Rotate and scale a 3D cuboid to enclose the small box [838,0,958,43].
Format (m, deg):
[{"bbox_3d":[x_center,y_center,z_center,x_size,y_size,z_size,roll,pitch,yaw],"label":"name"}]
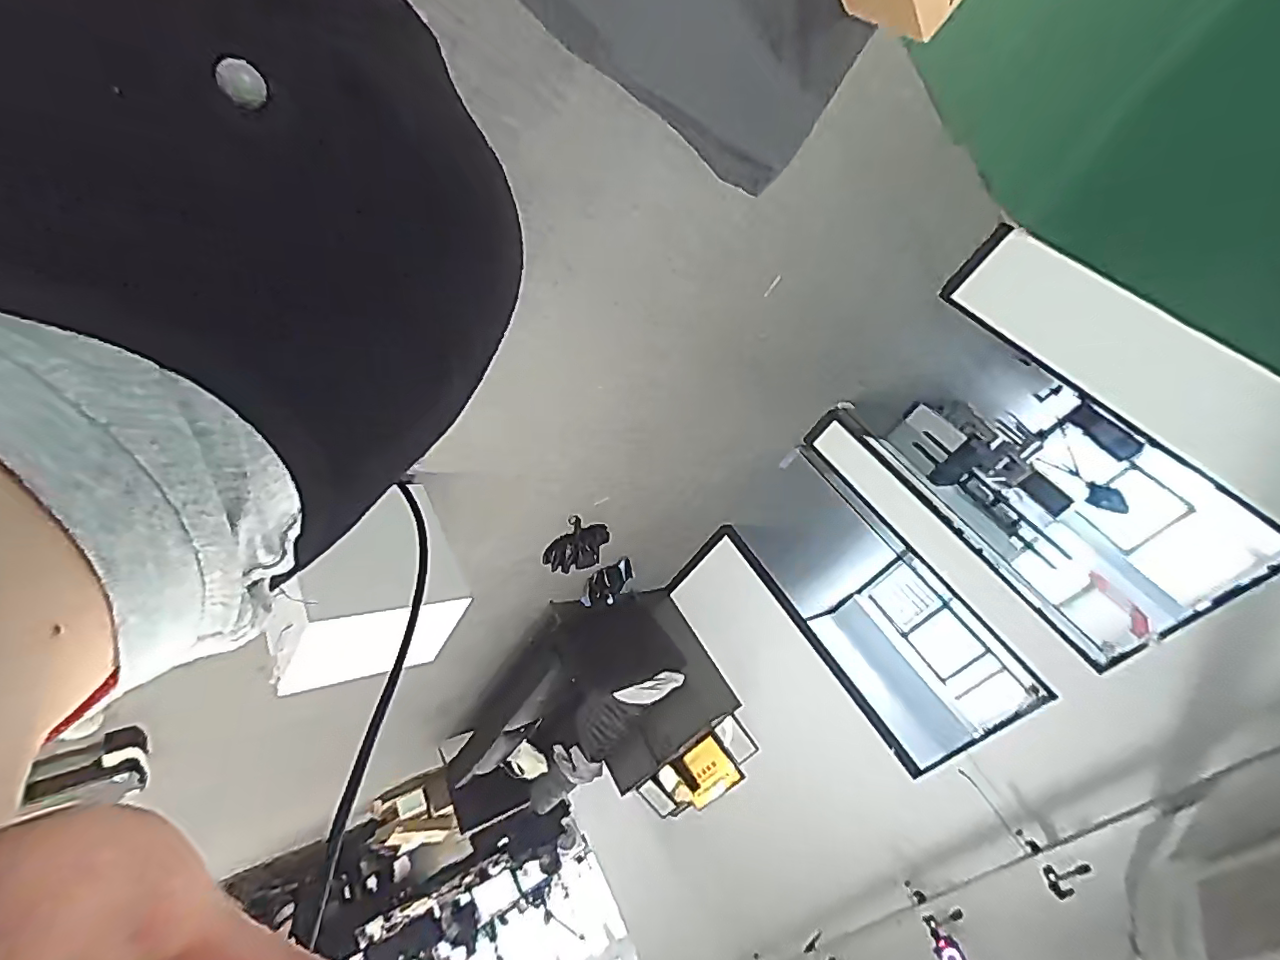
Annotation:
[{"bbox_3d":[0.360,-0.748,0.723,0.179,0.176,0.168,10,129,-50],"label":"small box"}]
